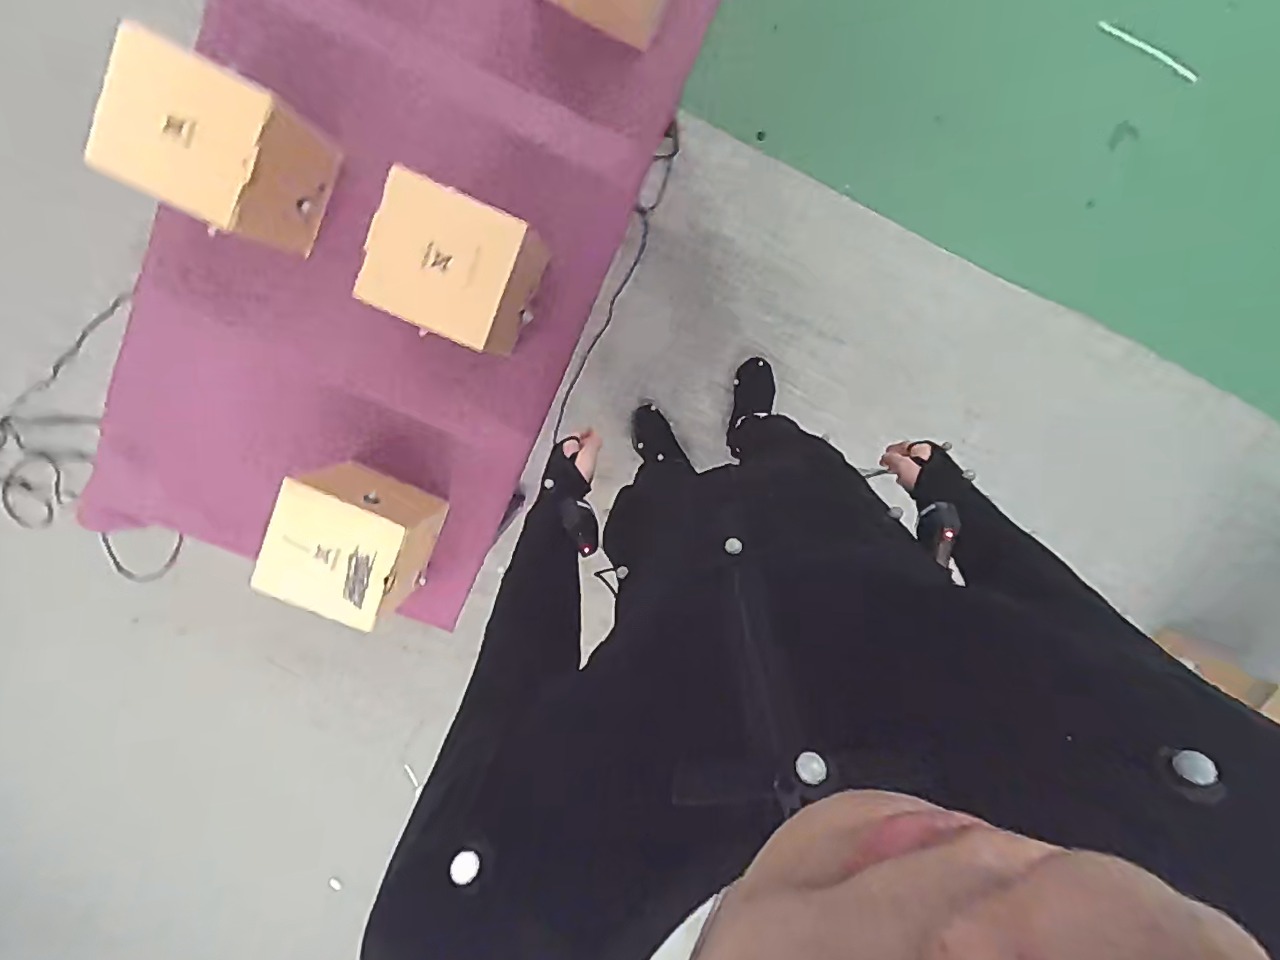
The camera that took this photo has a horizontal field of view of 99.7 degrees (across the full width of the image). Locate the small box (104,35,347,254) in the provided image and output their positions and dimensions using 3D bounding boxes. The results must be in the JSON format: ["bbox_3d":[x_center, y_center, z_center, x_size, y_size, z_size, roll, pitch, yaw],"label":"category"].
[{"bbox_3d":[-0.543,-0.430,0.732,0.179,0.176,0.168,25,100,-7],"label":"small box"}]

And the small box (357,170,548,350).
[{"bbox_3d":[-0.250,-0.290,0.758,0.179,0.176,0.168,23,101,-3],"label":"small box"}]

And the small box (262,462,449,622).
[{"bbox_3d":[-0.422,0.083,0.832,0.179,0.176,0.168,23,100,-3],"label":"small box"}]

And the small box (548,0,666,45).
[{"bbox_3d":[-0.039,-0.699,0.672,0.179,0.176,0.168,24,102,-5],"label":"small box"}]
